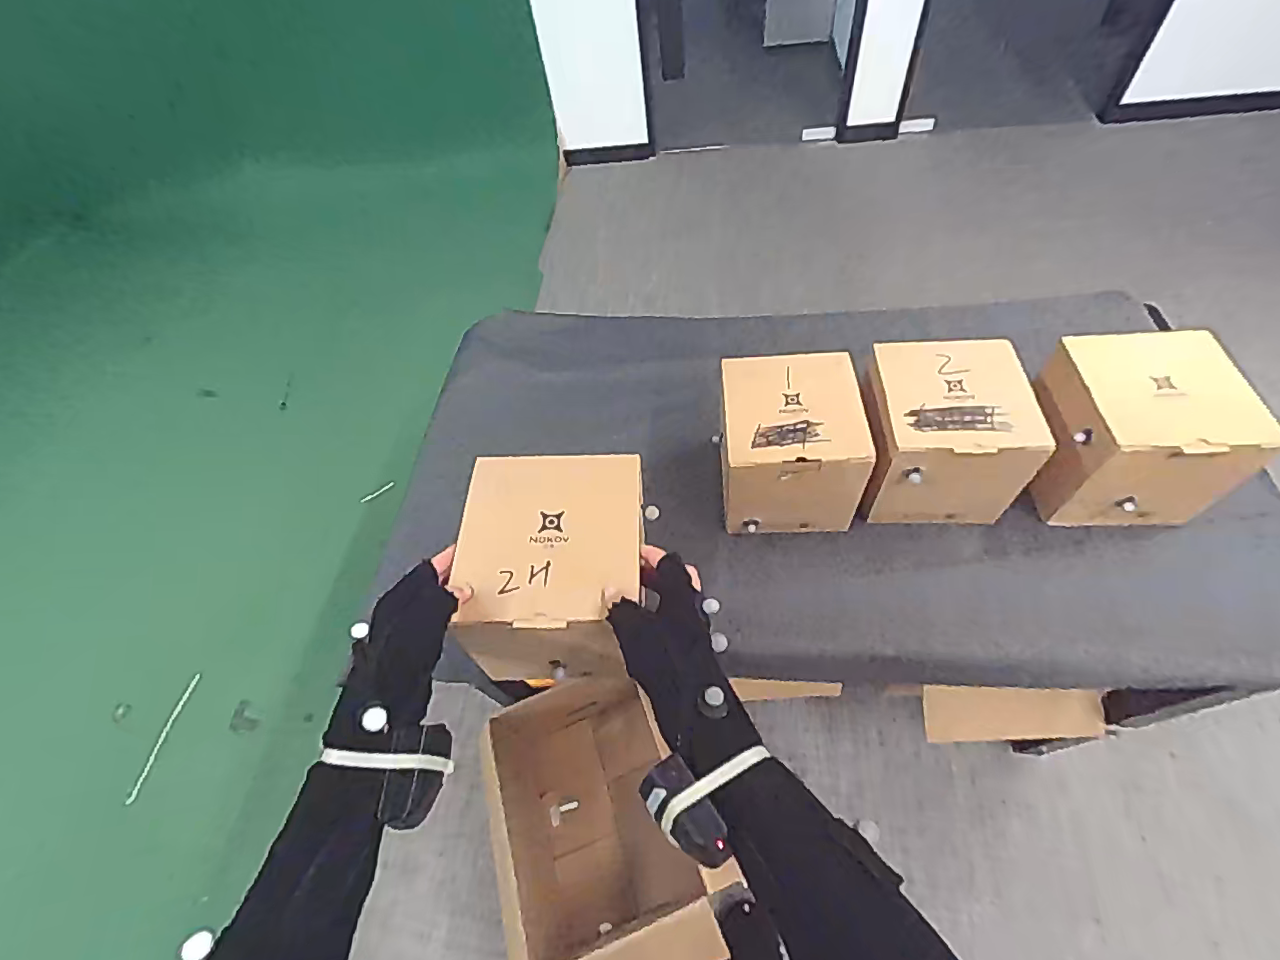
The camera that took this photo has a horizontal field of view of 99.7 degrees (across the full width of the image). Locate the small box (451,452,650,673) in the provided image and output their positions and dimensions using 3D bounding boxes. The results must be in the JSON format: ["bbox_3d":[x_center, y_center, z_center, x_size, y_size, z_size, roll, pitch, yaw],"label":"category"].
[{"bbox_3d":[-0.075,0.089,0.566,0.168,0.176,0.179,-2,55,2],"label":"small box"}]

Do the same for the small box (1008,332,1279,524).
[{"bbox_3d":[0.604,-0.061,0.680,0.168,0.176,0.179,-1,56,7],"label":"small box"}]
